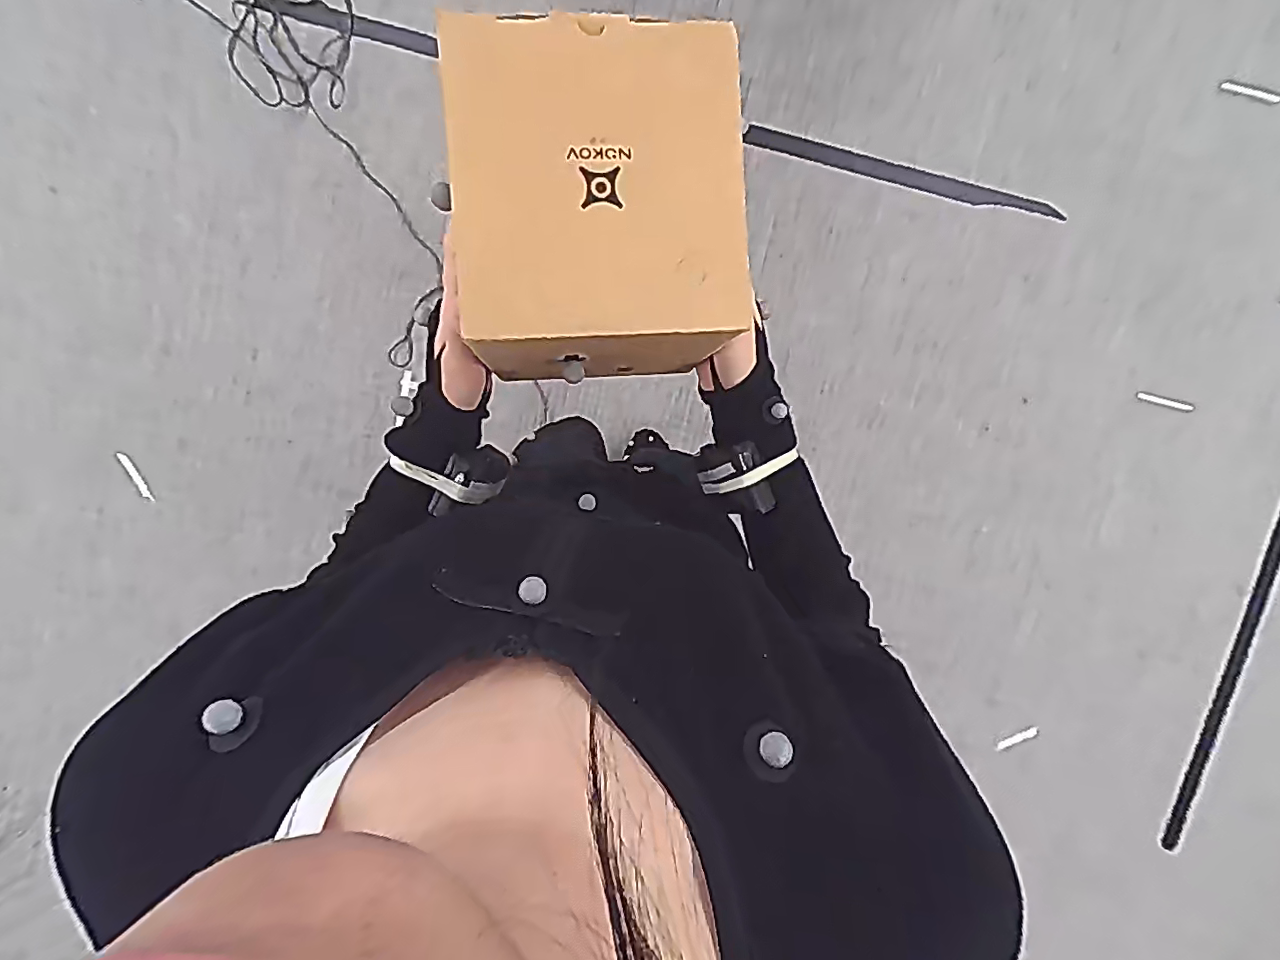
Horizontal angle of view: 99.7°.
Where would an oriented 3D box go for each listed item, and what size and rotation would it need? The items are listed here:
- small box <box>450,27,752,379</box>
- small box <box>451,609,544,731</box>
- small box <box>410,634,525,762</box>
[{"bbox_3d":[-0.027,-0.170,0.388,0.168,0.176,0.179,-4,92,-7],"label":"small box"},{"bbox_3d":[-0.311,0.396,1.153,0.168,0.176,0.179,11,94,-1],"label":"small box"},{"bbox_3d":[-0.316,0.402,0.991,0.168,0.176,0.179,10,95,1],"label":"small box"}]
